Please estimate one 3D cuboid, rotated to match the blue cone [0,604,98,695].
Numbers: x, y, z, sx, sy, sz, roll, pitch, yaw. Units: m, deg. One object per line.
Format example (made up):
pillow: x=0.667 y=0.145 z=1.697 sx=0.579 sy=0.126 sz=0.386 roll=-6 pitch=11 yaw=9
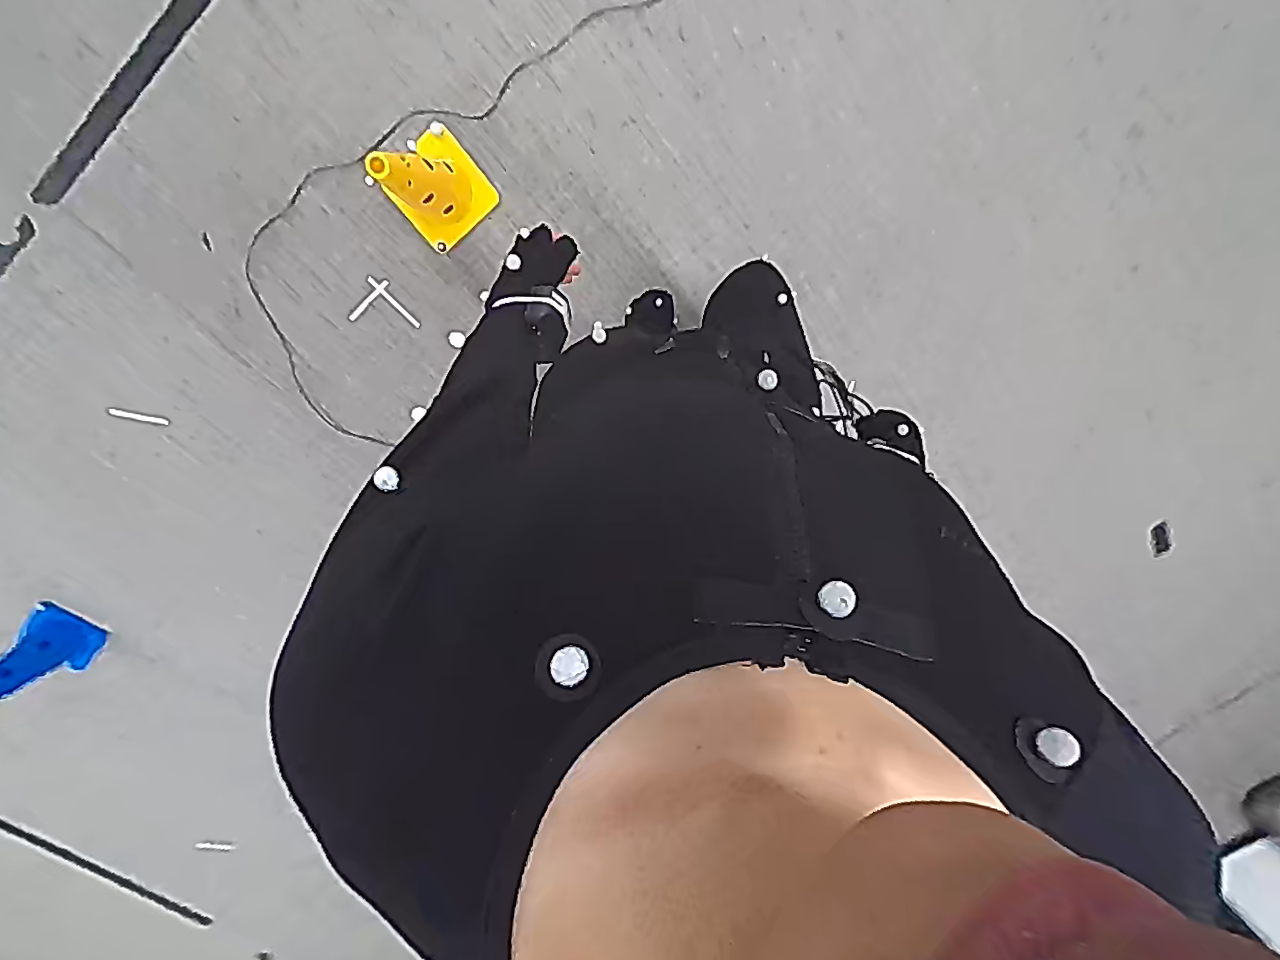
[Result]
blue cone: x=-1.742 y=0.537 z=1.471 sx=0.192 sy=0.380 sz=0.193 roll=42 pitch=105 yaw=-17
